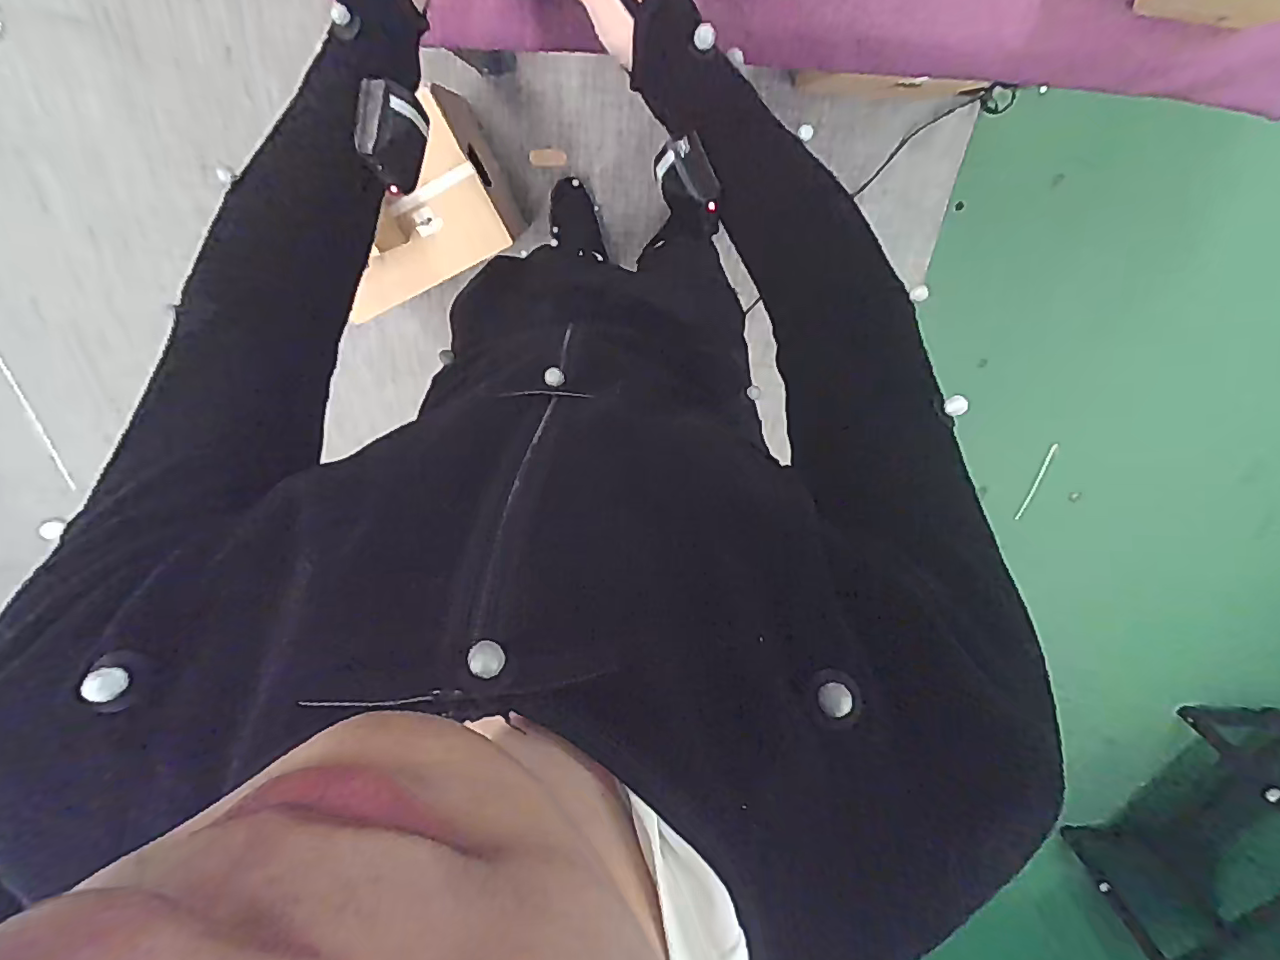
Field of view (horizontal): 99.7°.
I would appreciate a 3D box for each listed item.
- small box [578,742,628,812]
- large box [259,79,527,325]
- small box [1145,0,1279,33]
[{"bbox_3d":[-0.144,1.160,2.116,0.168,0.176,0.179,10,118,-8],"label":"small box"},{"bbox_3d":[-0.514,-0.607,1.214,0.408,0.320,0.320,-24,120,8],"label":"large box"},{"bbox_3d":[0.685,-0.593,0.547,0.168,0.176,0.179,3,118,-5],"label":"small box"}]
